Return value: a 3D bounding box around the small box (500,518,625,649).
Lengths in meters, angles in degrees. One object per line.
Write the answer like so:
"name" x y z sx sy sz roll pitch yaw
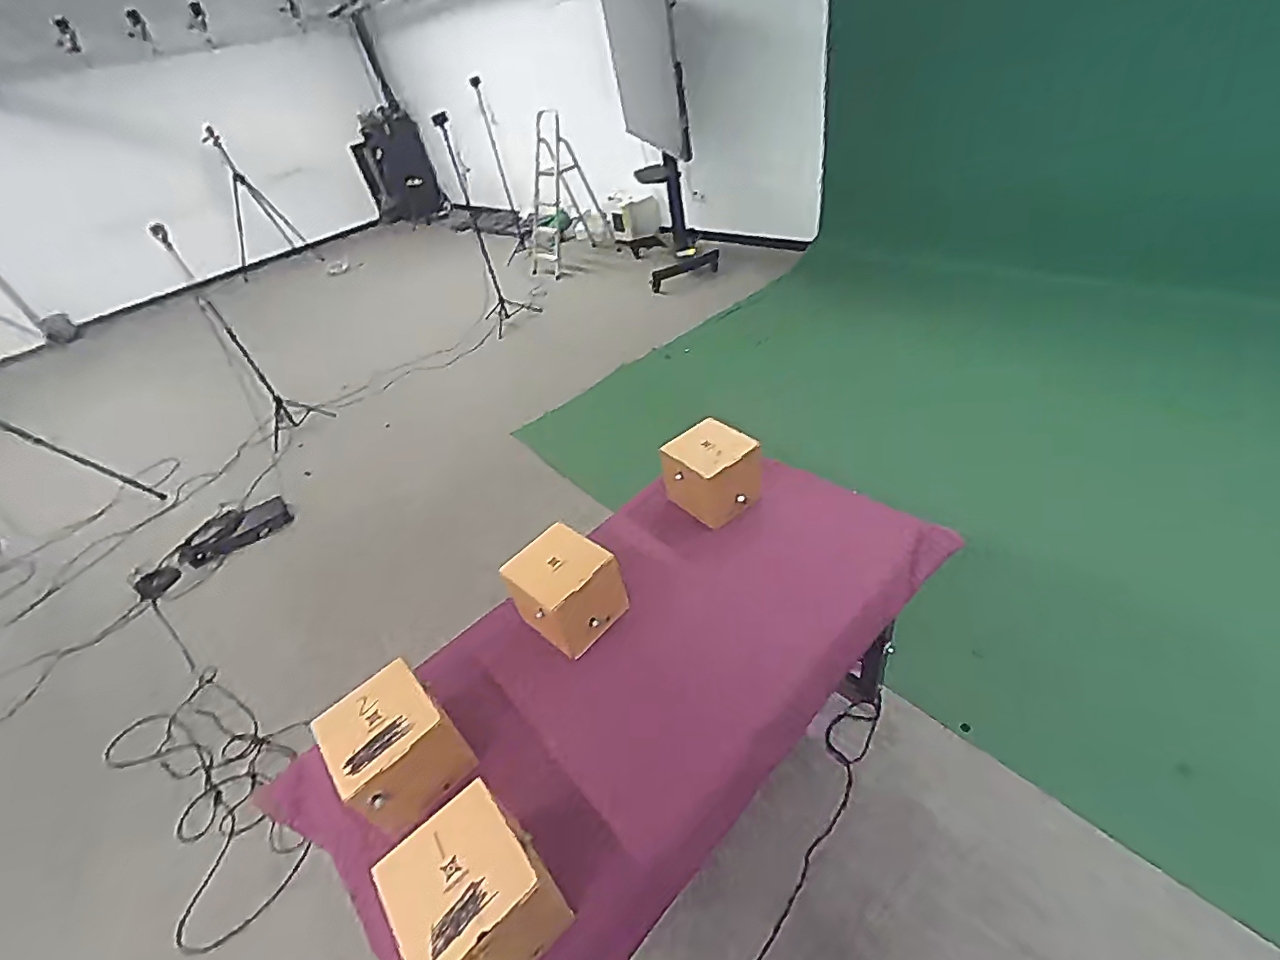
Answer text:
"small box" -0.154 0.215 1.123 0.179 0.176 0.168 26 53 35

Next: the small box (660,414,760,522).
"small box" 0.173 -0.029 1.316 0.168 0.176 0.179 -33 44 -21

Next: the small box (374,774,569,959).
"small box" -0.221 0.555 0.737 0.168 0.176 0.179 -35 43 -25
